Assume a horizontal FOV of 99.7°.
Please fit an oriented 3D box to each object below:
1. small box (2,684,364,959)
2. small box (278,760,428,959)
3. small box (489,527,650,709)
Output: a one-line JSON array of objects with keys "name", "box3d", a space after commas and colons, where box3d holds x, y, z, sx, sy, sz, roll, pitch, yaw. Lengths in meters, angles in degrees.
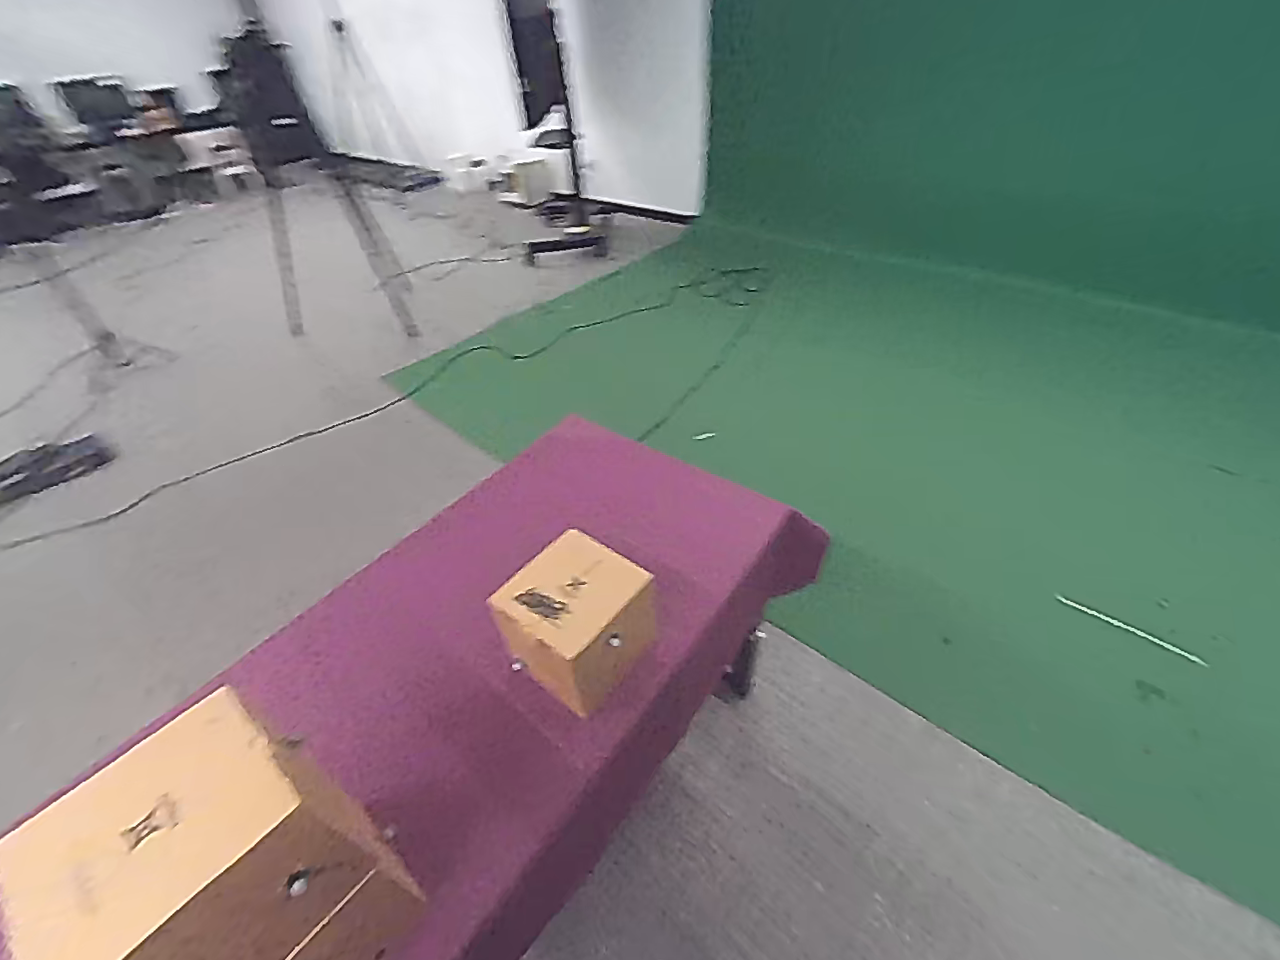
[{"name": "small box", "box3d": [-0.379, 0.331, 0.482, 0.168, 0.176, 0.179, 27, 52, 31]}, {"name": "small box", "box3d": [-0.369, 0.452, 0.591, 0.179, 0.176, 0.168, 26, 51, 31]}, {"name": "small box", "box3d": [-0.096, 0.212, 0.831, 0.168, 0.176, 0.179, 26, 50, 30]}]
